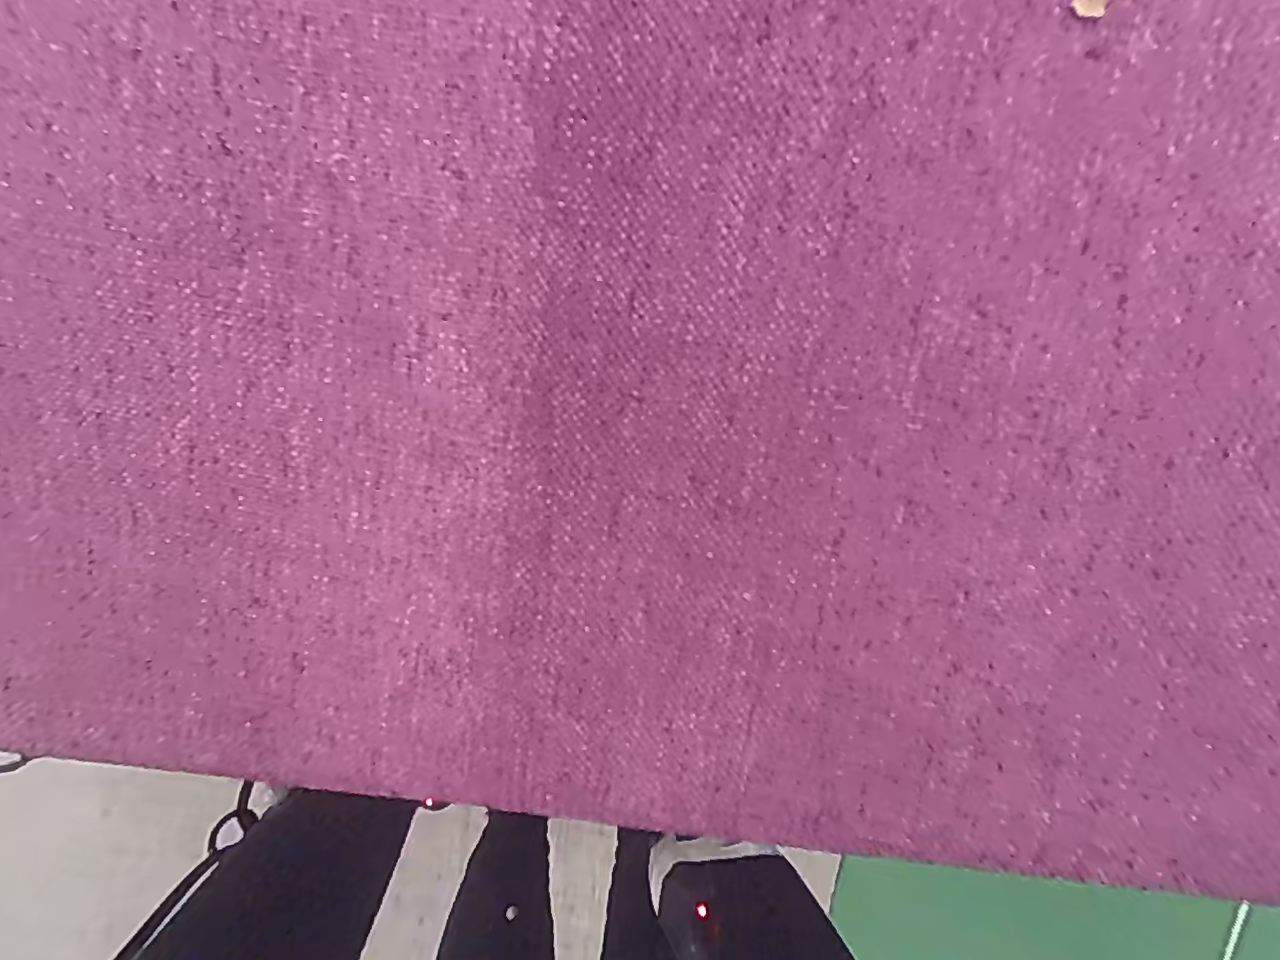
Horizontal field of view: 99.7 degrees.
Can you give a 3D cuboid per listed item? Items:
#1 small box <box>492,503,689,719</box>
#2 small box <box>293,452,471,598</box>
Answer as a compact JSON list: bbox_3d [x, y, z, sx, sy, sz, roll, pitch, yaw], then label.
[{"bbox_3d":[-0.047,0.132,0.610,0.179,0.176,0.168,11,103,1],"label":"small box"},{"bbox_3d":[-0.367,0.055,0.788,0.179,0.176,0.168,6,101,3],"label":"small box"}]
